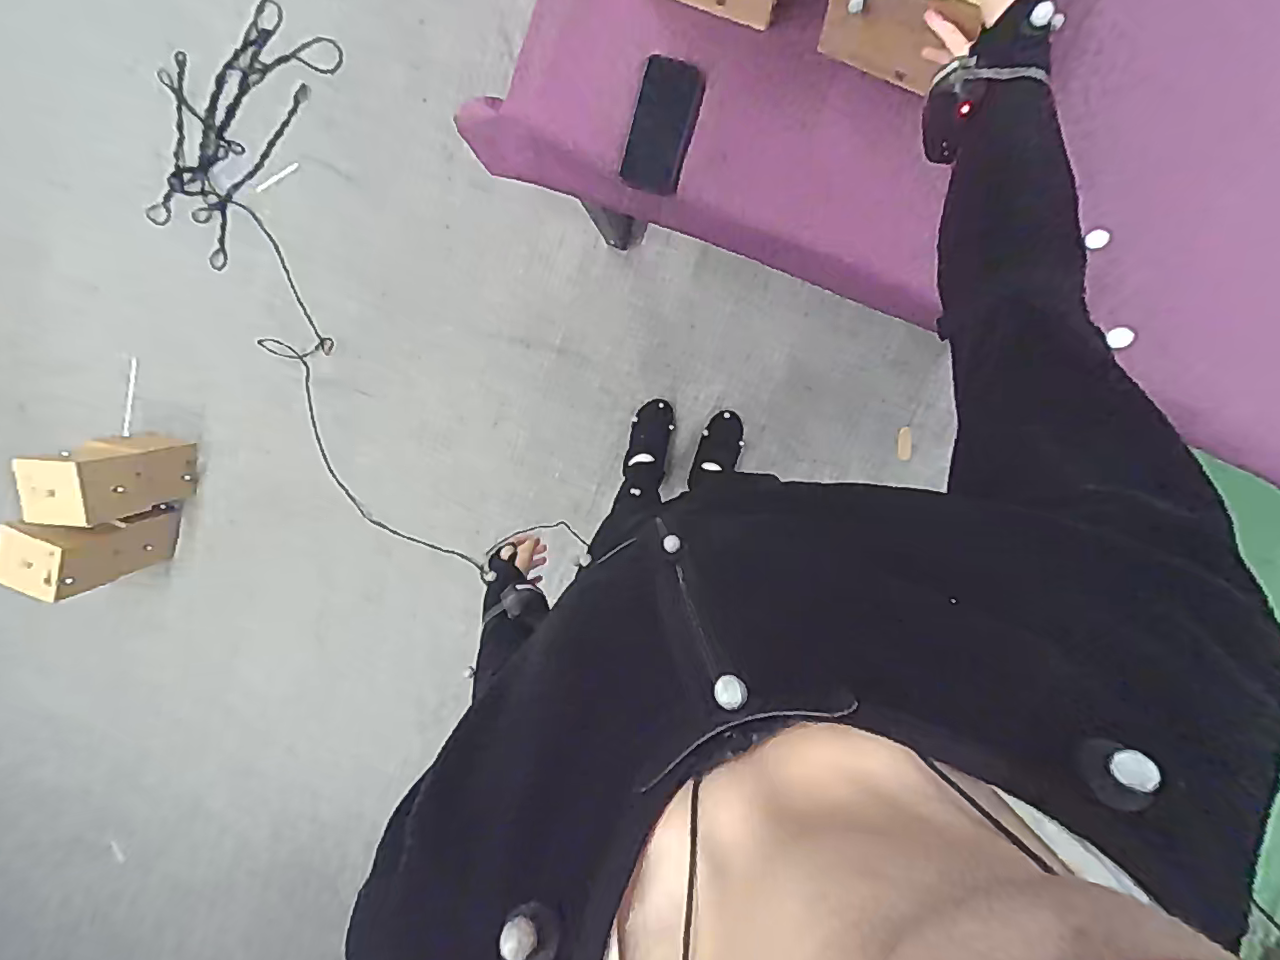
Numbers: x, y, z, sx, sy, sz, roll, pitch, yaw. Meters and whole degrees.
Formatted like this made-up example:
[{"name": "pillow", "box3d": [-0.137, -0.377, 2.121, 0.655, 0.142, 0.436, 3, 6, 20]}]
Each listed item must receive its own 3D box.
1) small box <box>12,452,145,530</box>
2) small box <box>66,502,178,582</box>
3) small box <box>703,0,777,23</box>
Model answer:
[{"name": "small box", "box3d": [-1.439, 0.022, 1.403, 0.179, 0.176, 0.168, 4, 102, 5]}, {"name": "small box", "box3d": [-1.529, 0.169, 1.605, 0.168, 0.176, 0.179, 21, 103, 2]}, {"name": "small box", "box3d": [0.097, -0.634, 0.558, 0.168, 0.176, 0.179, 20, 101, 2]}]
